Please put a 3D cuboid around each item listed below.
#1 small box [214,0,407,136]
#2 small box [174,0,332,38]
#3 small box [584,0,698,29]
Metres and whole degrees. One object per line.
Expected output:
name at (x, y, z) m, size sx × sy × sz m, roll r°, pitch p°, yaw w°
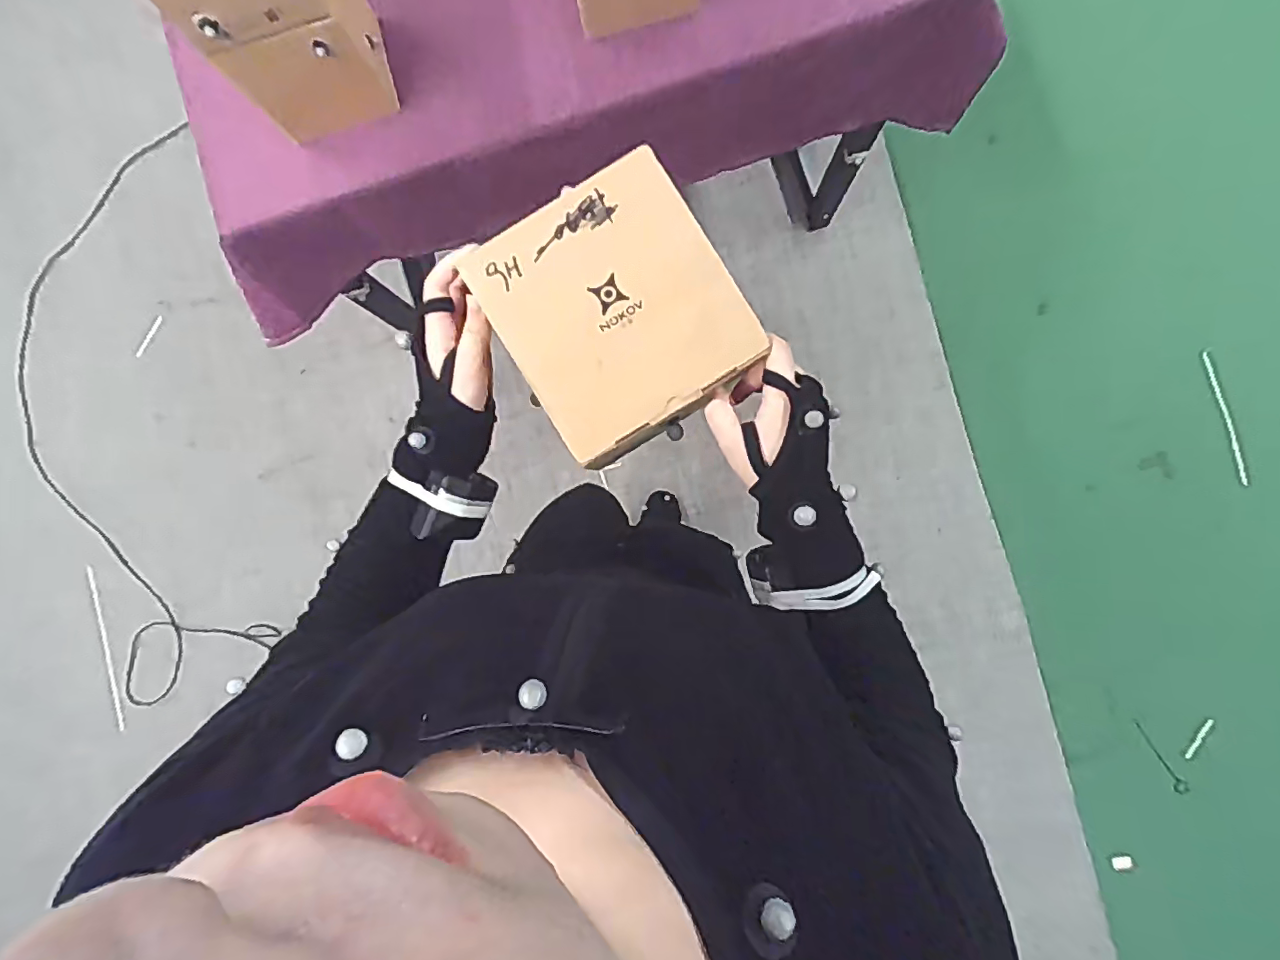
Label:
small box at (-0.467, -0.634, 0.767) m, size 0.179 × 0.176 × 0.168 m, roll -16°, pitch 86°, yaw 2°
small box at (-0.481, -0.647, 0.604) m, size 0.168 × 0.176 × 0.179 m, roll -16°, pitch 85°, yaw 2°
small box at (-0.010, -0.773, 0.739) m, size 0.179 × 0.176 × 0.168 m, roll -11°, pitch 87°, yaw 4°
